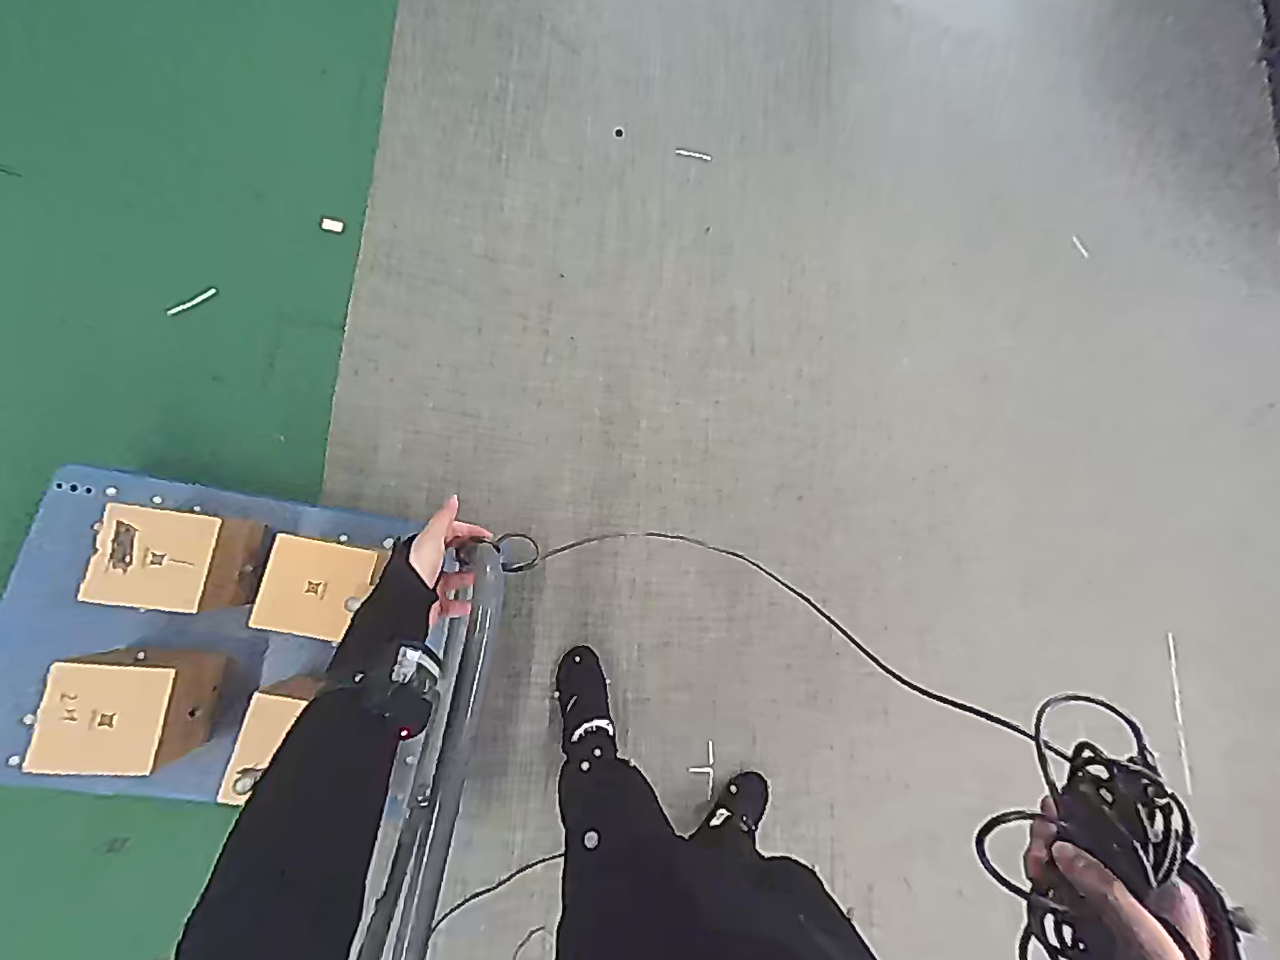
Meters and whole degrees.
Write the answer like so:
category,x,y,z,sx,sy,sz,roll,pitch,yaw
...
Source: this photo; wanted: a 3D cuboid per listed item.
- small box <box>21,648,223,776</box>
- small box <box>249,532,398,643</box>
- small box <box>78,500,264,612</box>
category,x,y,z,sx,sy,sz,roll,pitch,yaw
small box,-0.868,0.389,0.931,0.179,0.176,0.168,9,79,-11
small box,-0.583,0.201,1.023,0.179,0.176,0.168,14,79,-11
small box,-0.829,0.139,0.978,0.179,0.176,0.168,11,80,-12
